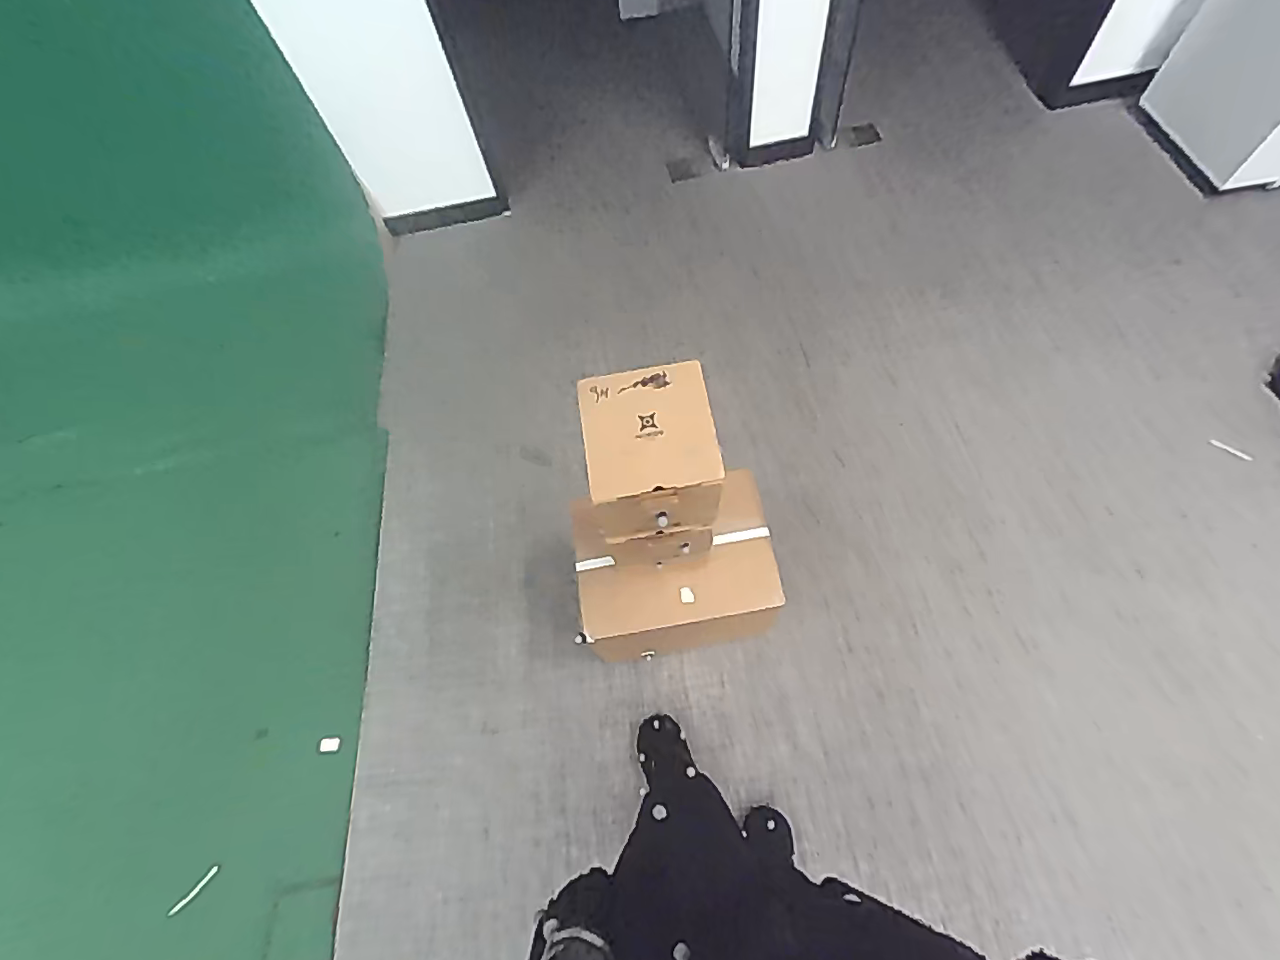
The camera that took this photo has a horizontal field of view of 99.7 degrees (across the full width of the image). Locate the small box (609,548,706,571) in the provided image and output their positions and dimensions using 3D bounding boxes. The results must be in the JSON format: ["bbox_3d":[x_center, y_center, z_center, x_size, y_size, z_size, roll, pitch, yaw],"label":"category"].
[{"bbox_3d":[0.035,0.078,1.060,0.179,0.176,0.168,-4,67,4],"label":"small box"}]

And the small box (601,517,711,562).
[{"bbox_3d":[0.022,0.032,0.908,0.168,0.176,0.179,-10,67,0],"label":"small box"}]

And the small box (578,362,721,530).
[{"bbox_3d":[0.015,-0.036,0.758,0.168,0.176,0.179,-9,69,1],"label":"small box"}]
